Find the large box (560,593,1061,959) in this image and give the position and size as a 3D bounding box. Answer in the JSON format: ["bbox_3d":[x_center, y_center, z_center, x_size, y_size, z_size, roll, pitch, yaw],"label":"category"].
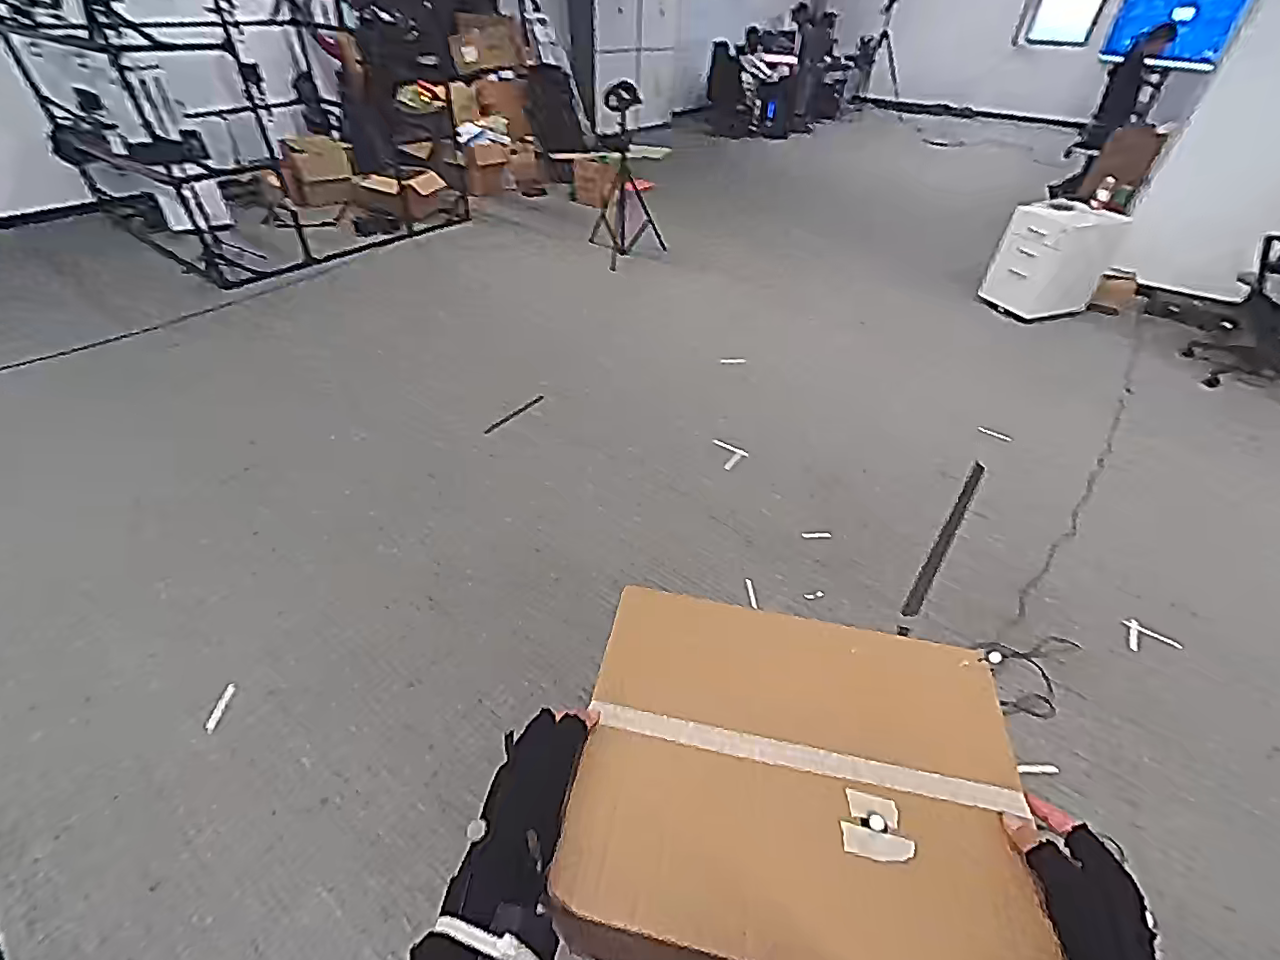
[{"bbox_3d":[0.154,0.376,0.626,0.408,0.320,0.320,10,45,9],"label":"large box"}]
